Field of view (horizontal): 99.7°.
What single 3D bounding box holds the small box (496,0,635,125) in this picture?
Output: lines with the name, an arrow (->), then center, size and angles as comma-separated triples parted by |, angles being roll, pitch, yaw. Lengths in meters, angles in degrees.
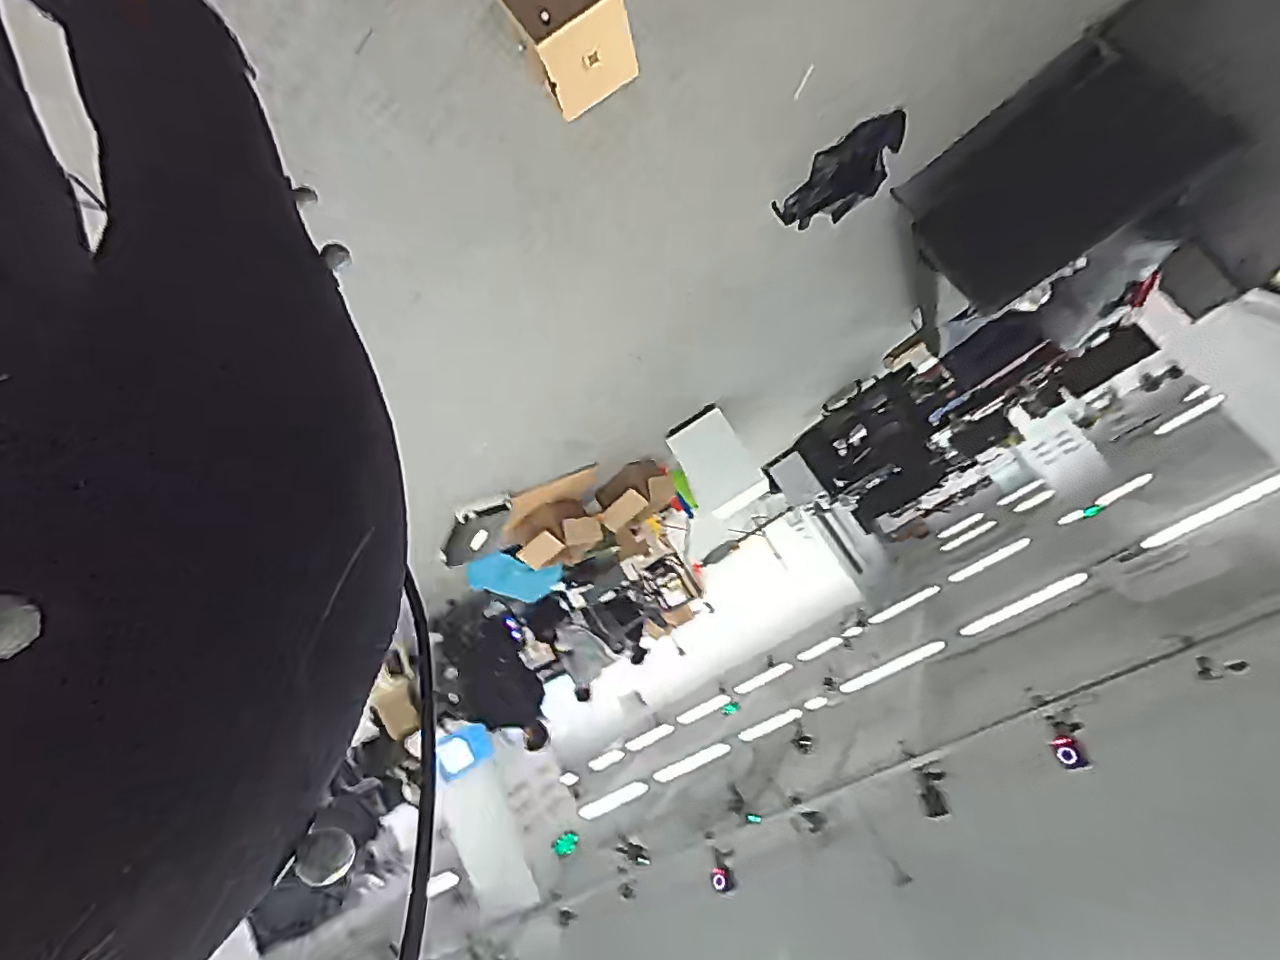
small box -> -0.136, -0.833, 1.013 | 0.179, 0.176, 0.168 | -32, 165, 4
